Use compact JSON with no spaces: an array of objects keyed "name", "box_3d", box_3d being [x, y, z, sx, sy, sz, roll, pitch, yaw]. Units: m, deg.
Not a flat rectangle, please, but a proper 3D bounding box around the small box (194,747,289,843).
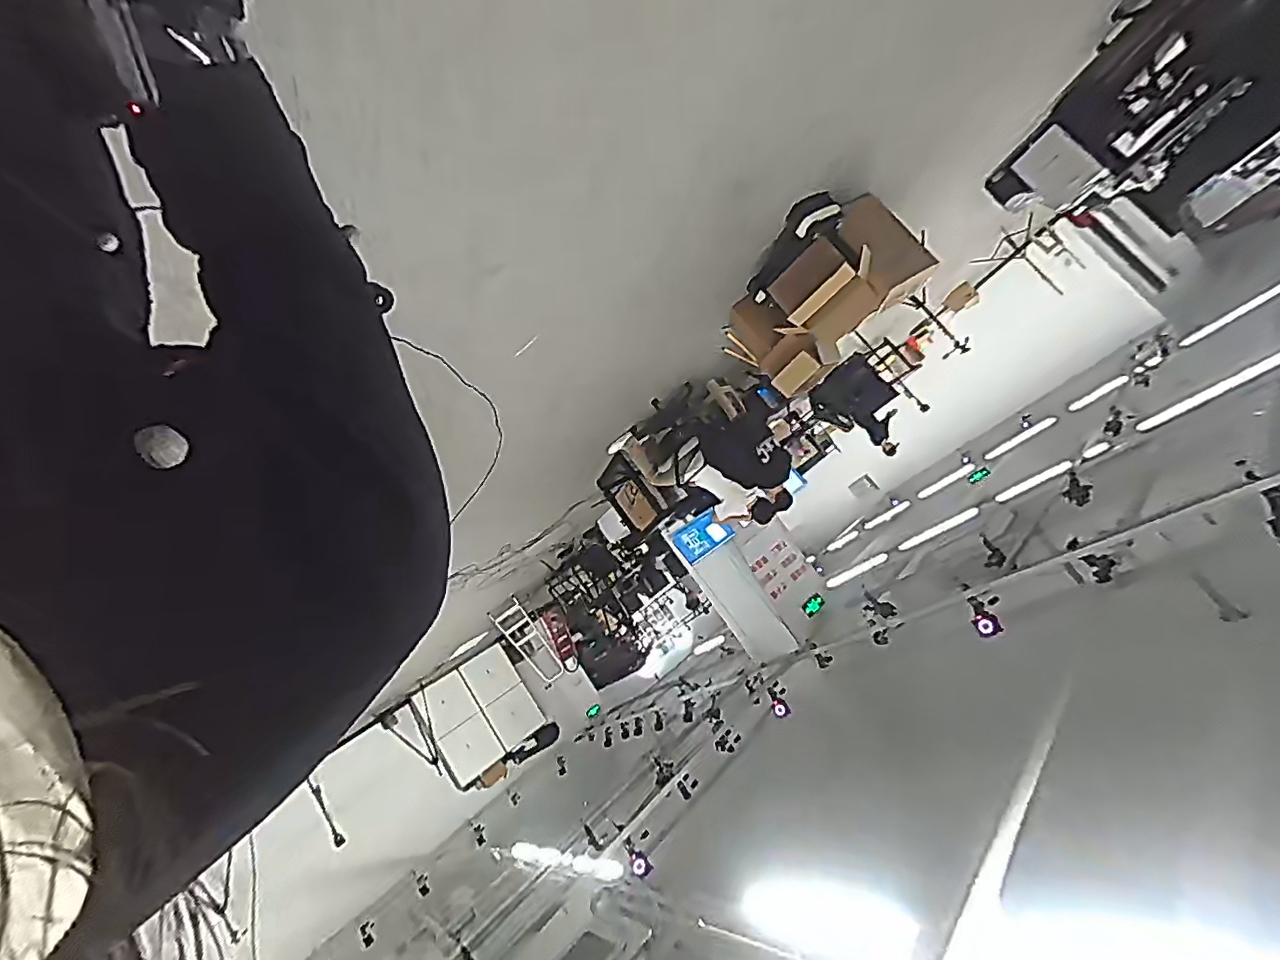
[{"name":"small box","box_3d":[-1.162,0.916,1.577,0.179,0.176,0.168,-29,167,-38]}]
